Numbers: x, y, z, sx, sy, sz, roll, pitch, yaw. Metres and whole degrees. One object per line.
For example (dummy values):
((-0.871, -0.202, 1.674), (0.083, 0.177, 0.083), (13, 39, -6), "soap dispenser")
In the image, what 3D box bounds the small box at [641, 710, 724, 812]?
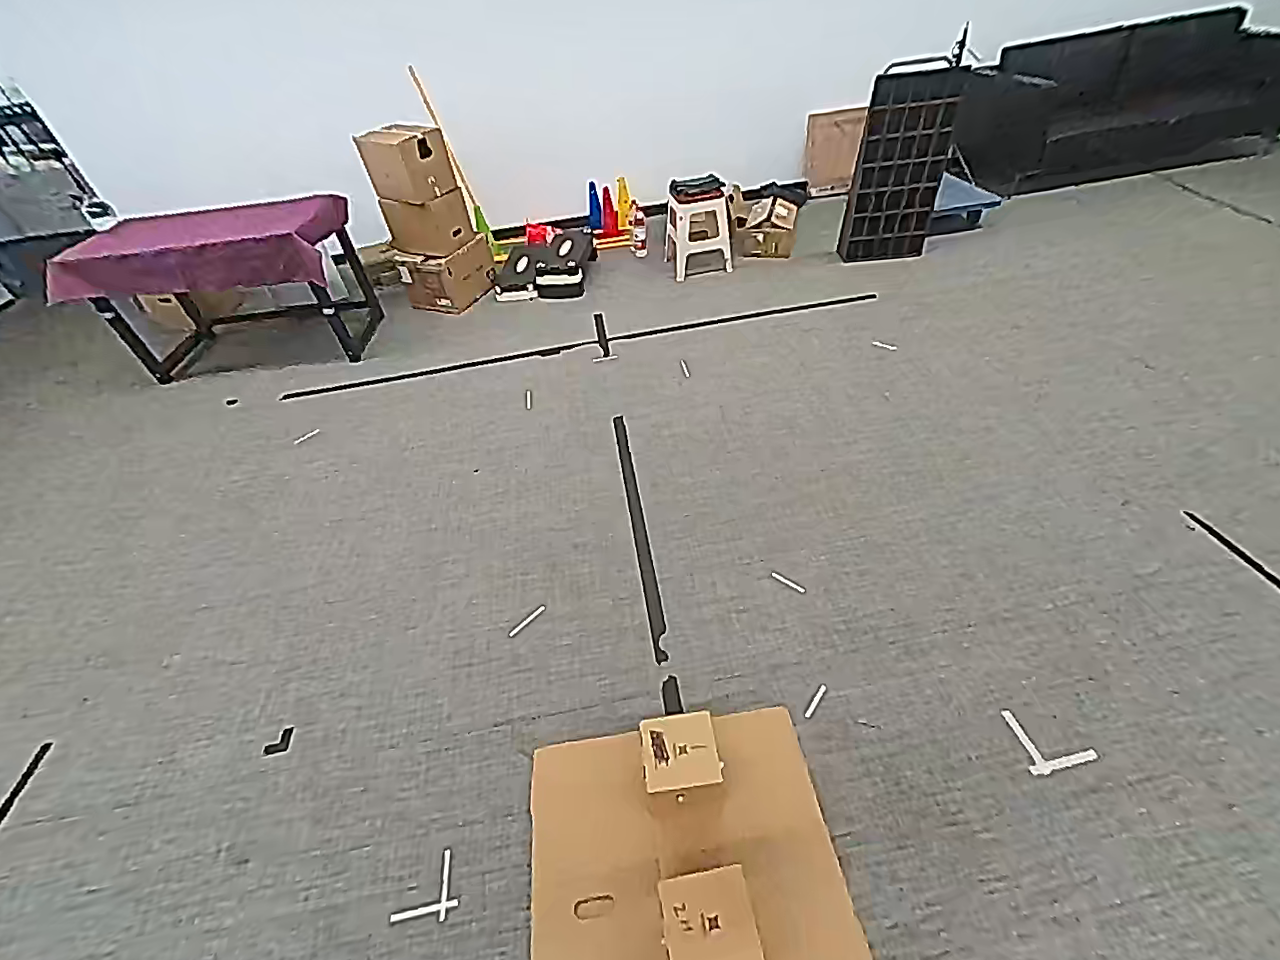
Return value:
((0.105, 0.693, 1.327), (0.179, 0.176, 0.168), (-8, 43, 0), "small box")

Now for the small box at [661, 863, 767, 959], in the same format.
((0.146, 0.905, 1.094), (0.179, 0.176, 0.168), (-11, 43, -1), "small box")
